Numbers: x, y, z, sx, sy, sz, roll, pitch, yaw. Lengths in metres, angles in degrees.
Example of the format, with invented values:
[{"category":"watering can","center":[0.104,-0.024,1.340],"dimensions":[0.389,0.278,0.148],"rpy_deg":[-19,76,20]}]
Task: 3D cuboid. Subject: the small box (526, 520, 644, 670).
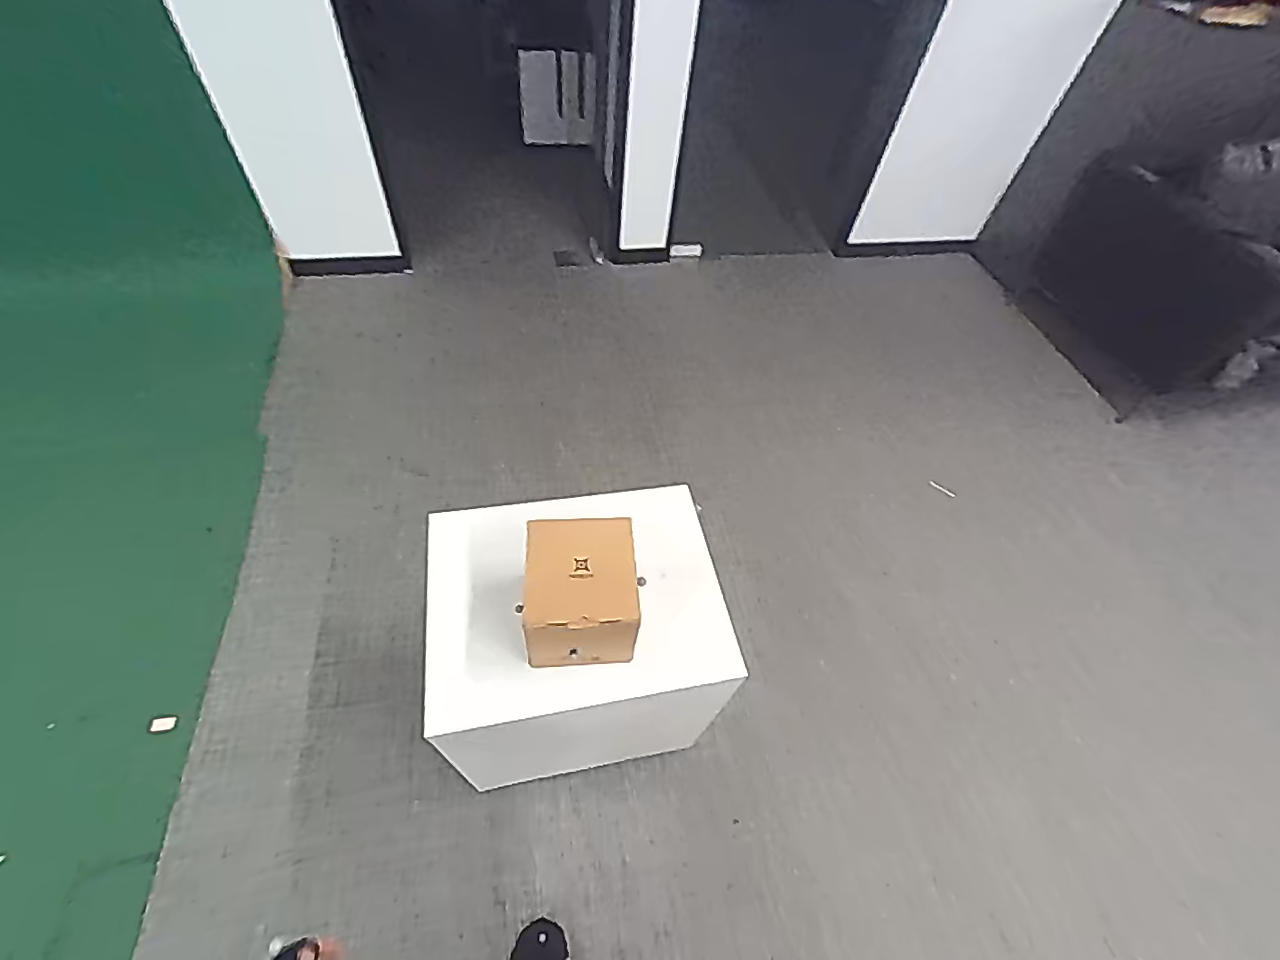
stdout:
[{"category":"small box","center":[-0.091,0.182,0.856],"dimensions":[0.168,0.176,0.179],"rpy_deg":[-2,53,-8]}]
